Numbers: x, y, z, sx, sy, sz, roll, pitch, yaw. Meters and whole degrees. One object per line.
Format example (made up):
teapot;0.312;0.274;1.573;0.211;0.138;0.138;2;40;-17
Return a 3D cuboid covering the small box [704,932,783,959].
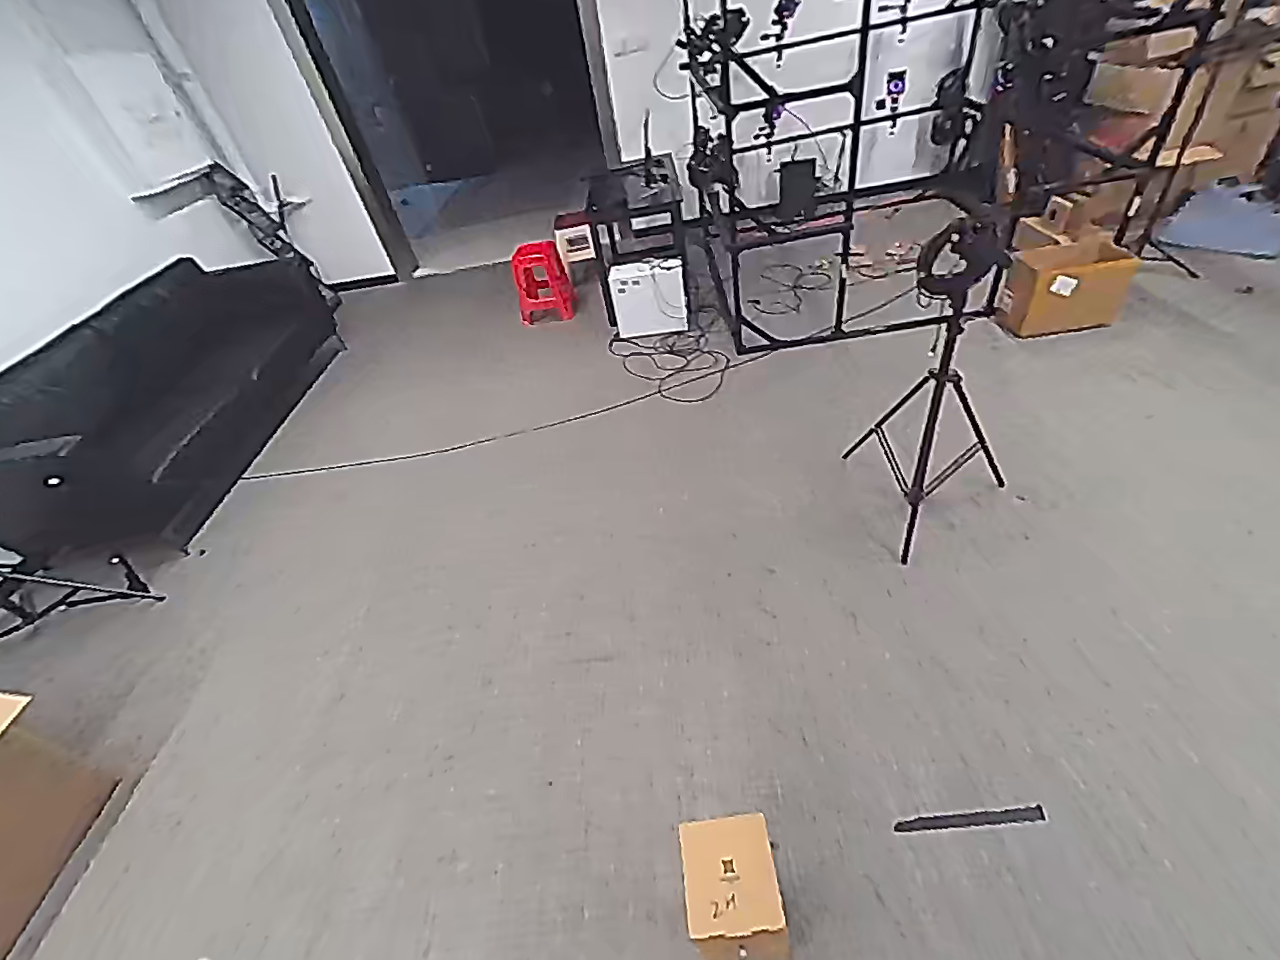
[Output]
small box;0.226;0.984;1.244;0.168;0.176;0.179;-10;41;5

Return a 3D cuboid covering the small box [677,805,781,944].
small box;0.166;0.748;1.025;0.168;0.176;0.179;-10;42;5
